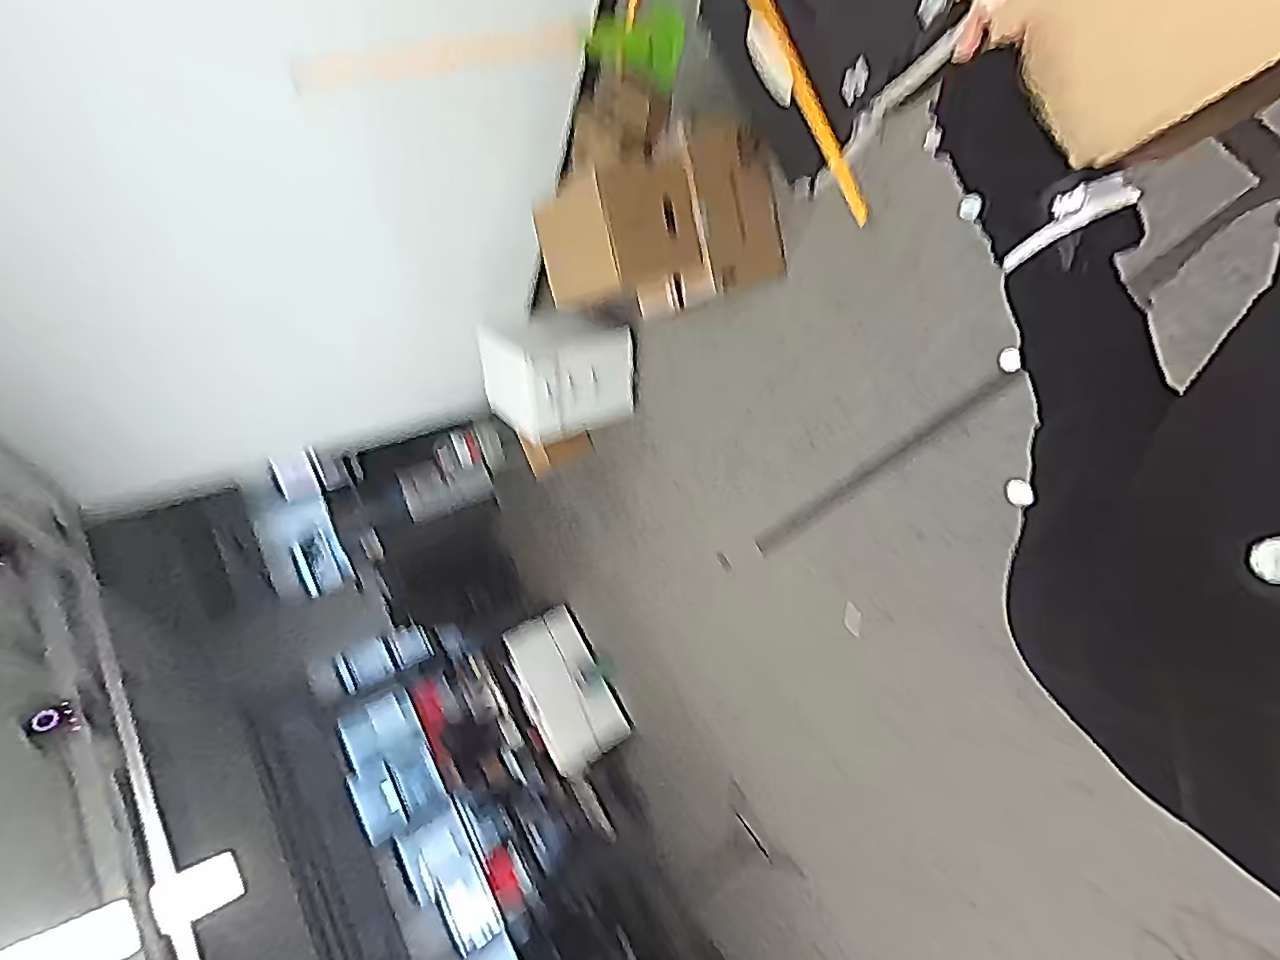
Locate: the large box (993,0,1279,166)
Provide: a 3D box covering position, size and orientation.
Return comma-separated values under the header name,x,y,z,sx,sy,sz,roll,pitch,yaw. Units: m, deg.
name,x,y,z,sx,sy,sz,roll,pitch,yaw
large box,0.486,-0.477,0.342,0.408,0.320,0.320,-26,89,57
